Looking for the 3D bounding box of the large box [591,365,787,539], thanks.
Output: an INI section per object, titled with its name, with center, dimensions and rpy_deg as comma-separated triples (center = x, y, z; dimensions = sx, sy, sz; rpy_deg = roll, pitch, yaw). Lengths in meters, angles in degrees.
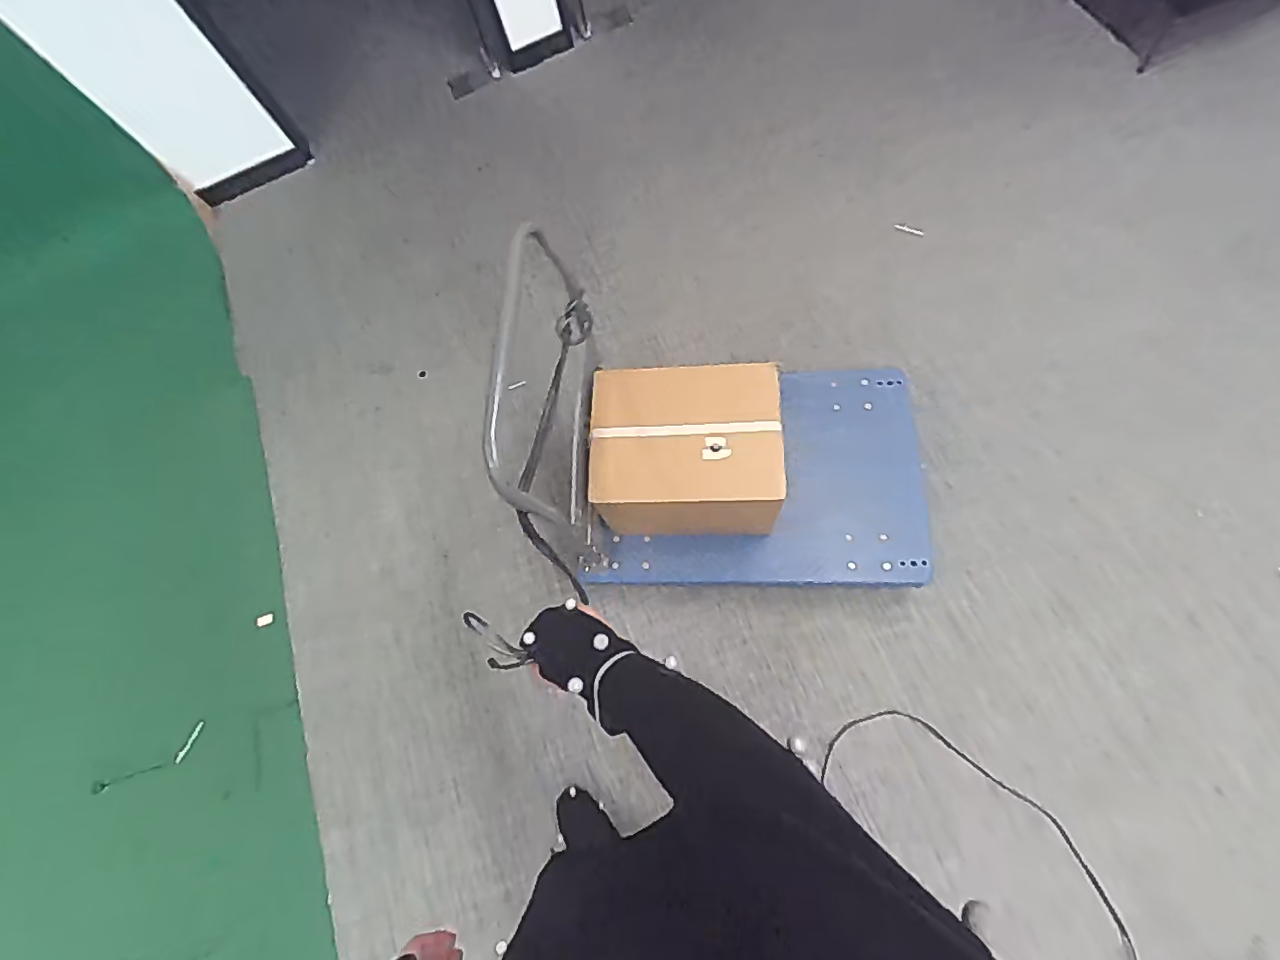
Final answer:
[large box]
center = 0.111, -0.048, 1.276
dimensions = 0.408, 0.320, 0.320
rpy_deg = -2, 72, 7
